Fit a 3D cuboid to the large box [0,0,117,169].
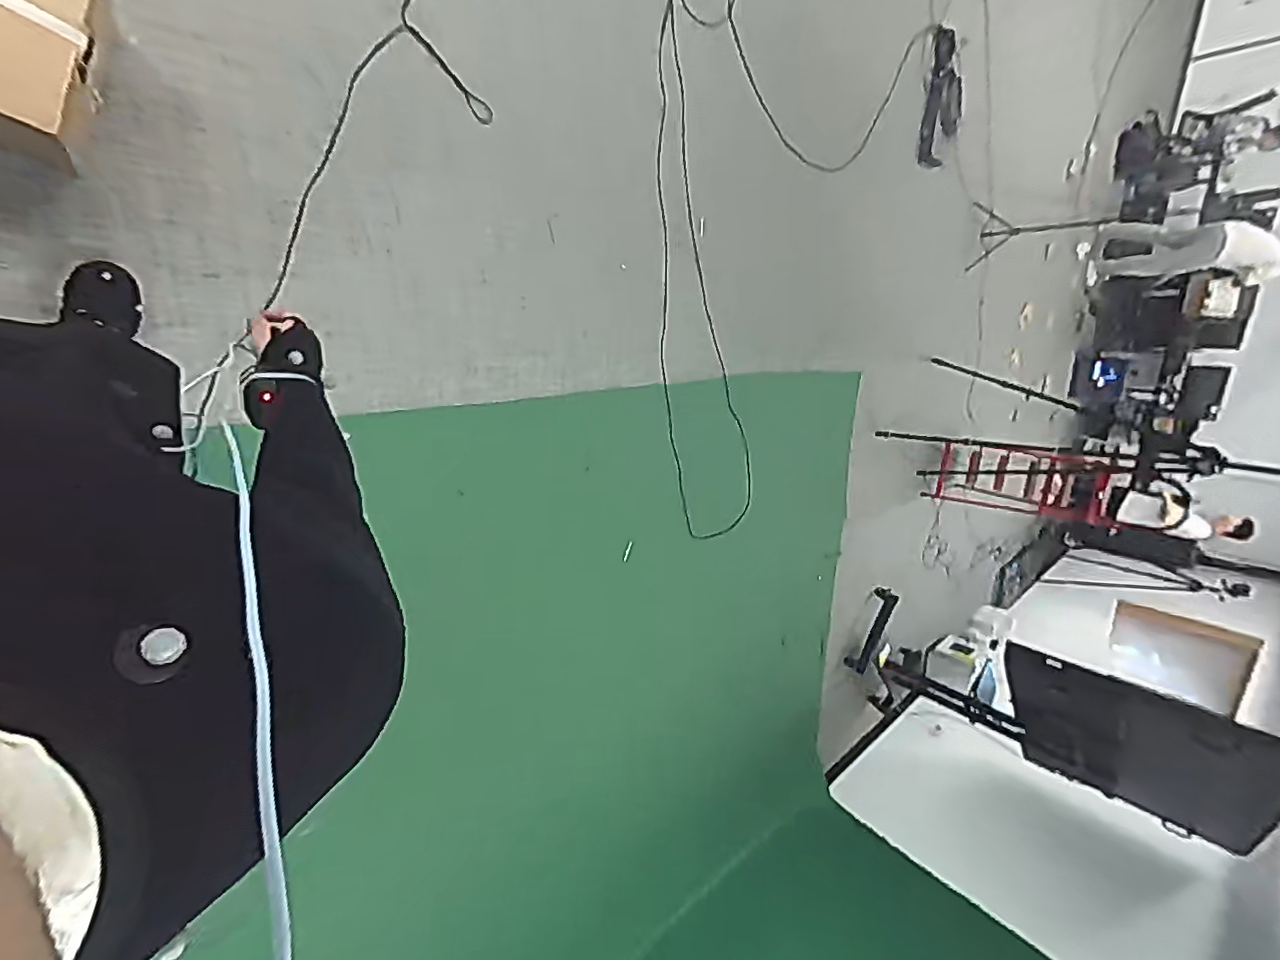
[{"bbox_3d":[-1.125,-0.763,0.838,0.408,0.320,0.320,14,92,-41],"label":"large box"}]
